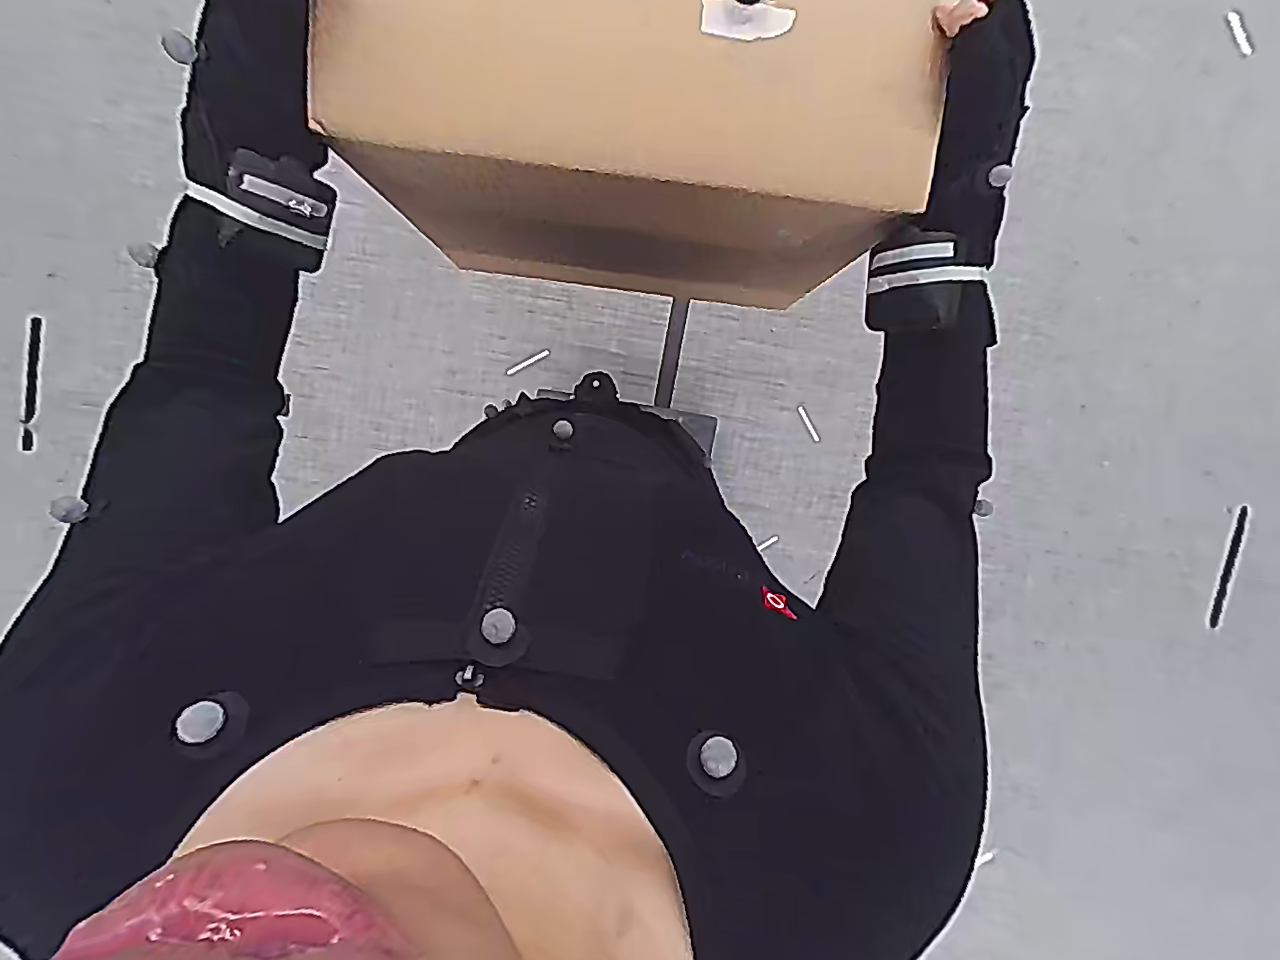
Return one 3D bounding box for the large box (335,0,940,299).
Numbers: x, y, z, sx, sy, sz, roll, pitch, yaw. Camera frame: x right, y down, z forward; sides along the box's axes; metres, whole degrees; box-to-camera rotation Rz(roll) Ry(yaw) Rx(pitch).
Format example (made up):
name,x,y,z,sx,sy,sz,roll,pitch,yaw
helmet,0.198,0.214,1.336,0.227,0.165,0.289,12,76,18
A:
name,x,y,z,sx,sy,sz,roll,pitch,yaw
large box,0.001,-0.376,0.501,0.408,0.320,0.320,6,96,-3
